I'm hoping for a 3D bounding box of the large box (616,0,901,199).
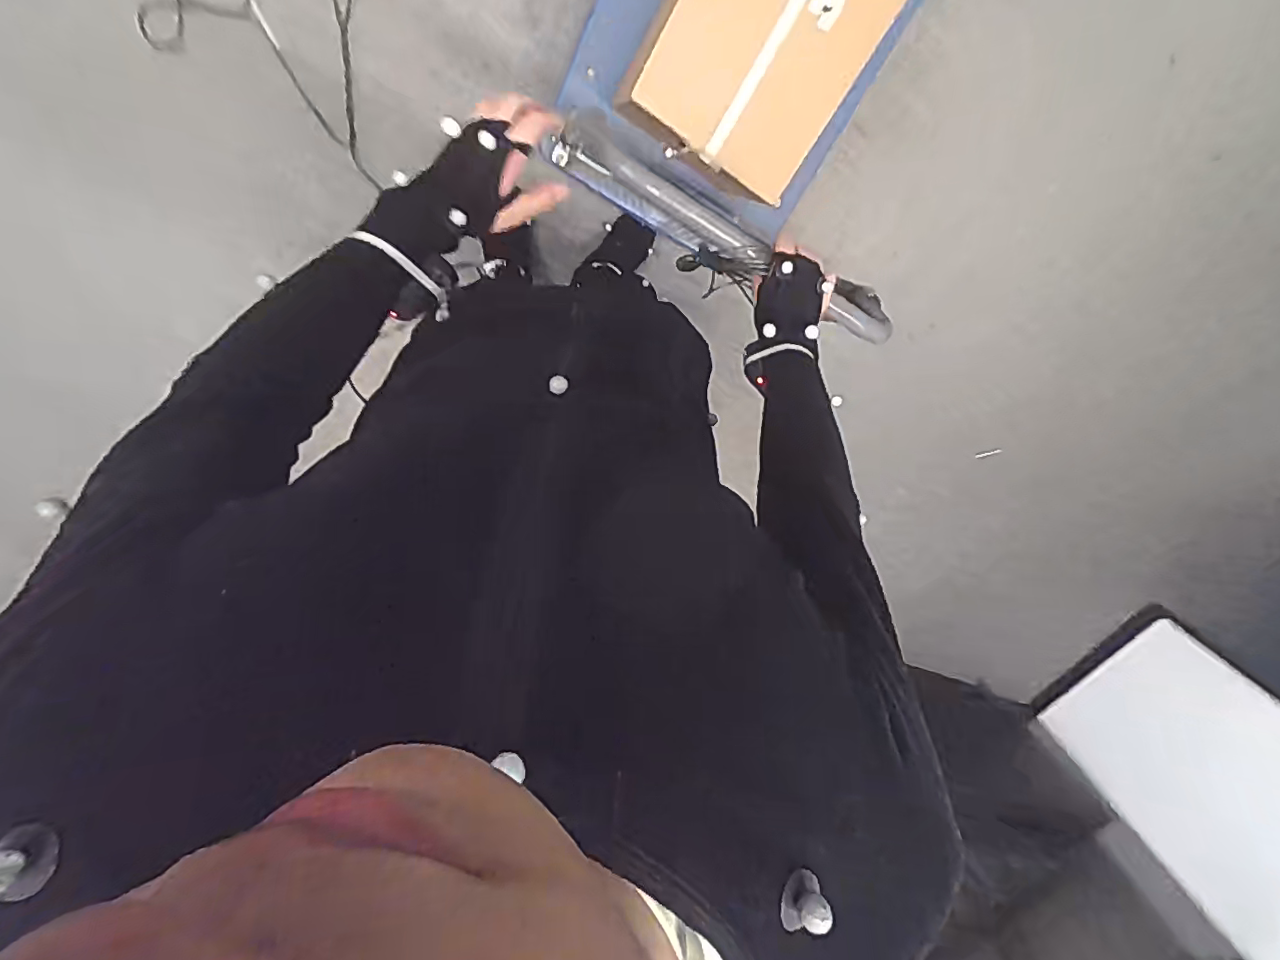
[{"bbox_3d":[0.193,-0.786,0.968,0.320,0.320,0.408,24,114,-23],"label":"large box"}]
